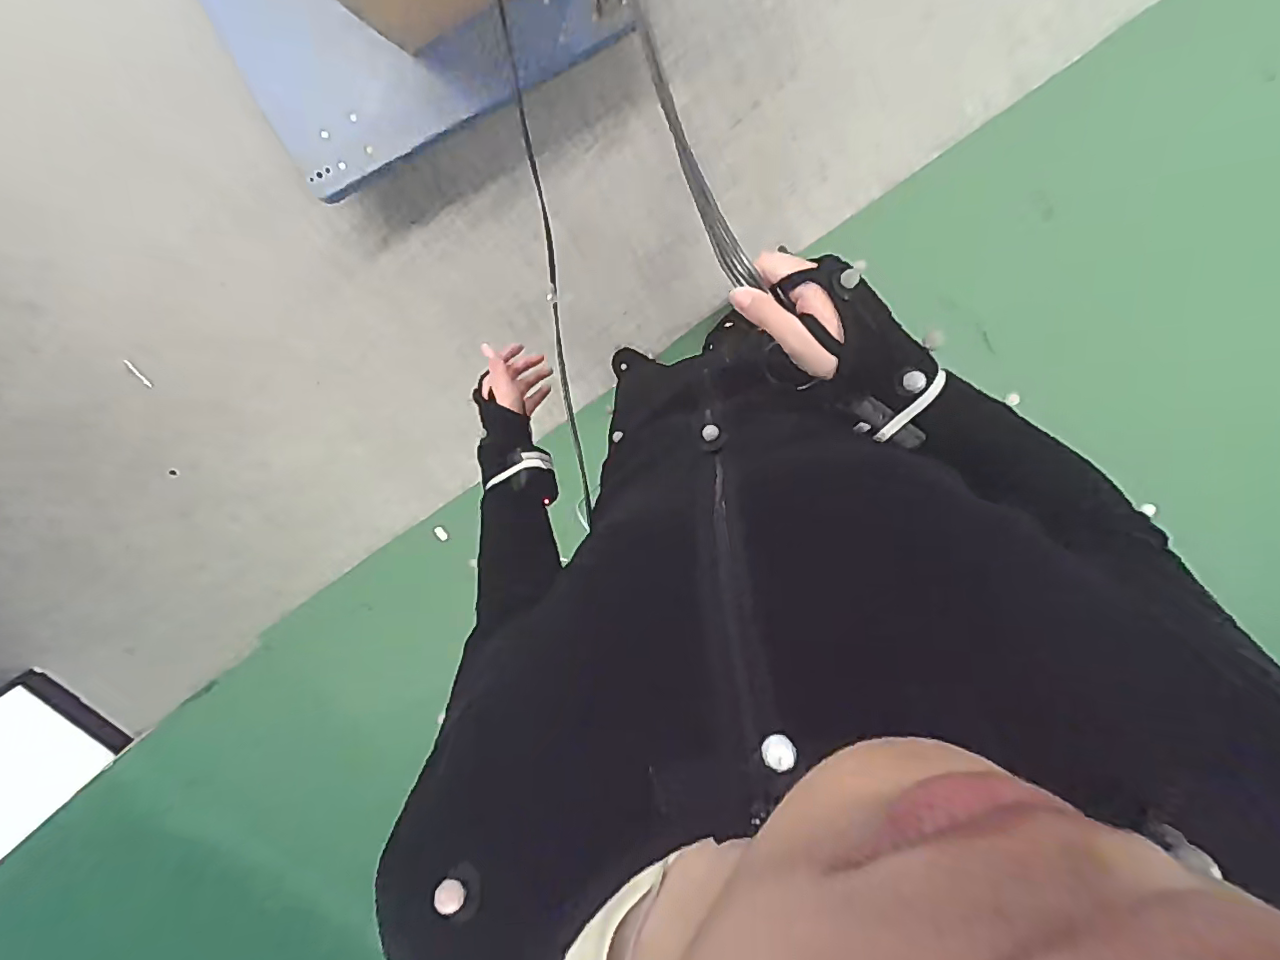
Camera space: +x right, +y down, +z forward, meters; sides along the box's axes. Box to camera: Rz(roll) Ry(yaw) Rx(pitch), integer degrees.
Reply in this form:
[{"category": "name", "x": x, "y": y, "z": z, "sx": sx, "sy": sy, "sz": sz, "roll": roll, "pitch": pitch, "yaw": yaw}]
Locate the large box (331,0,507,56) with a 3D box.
[{"category": "large box", "x": -0.378, "y": -1.047, "z": 0.939, "sx": 0.408, "sy": 0.320, "sz": 0.320, "roll": -20, "pitch": 109, "yaw": 12}]
